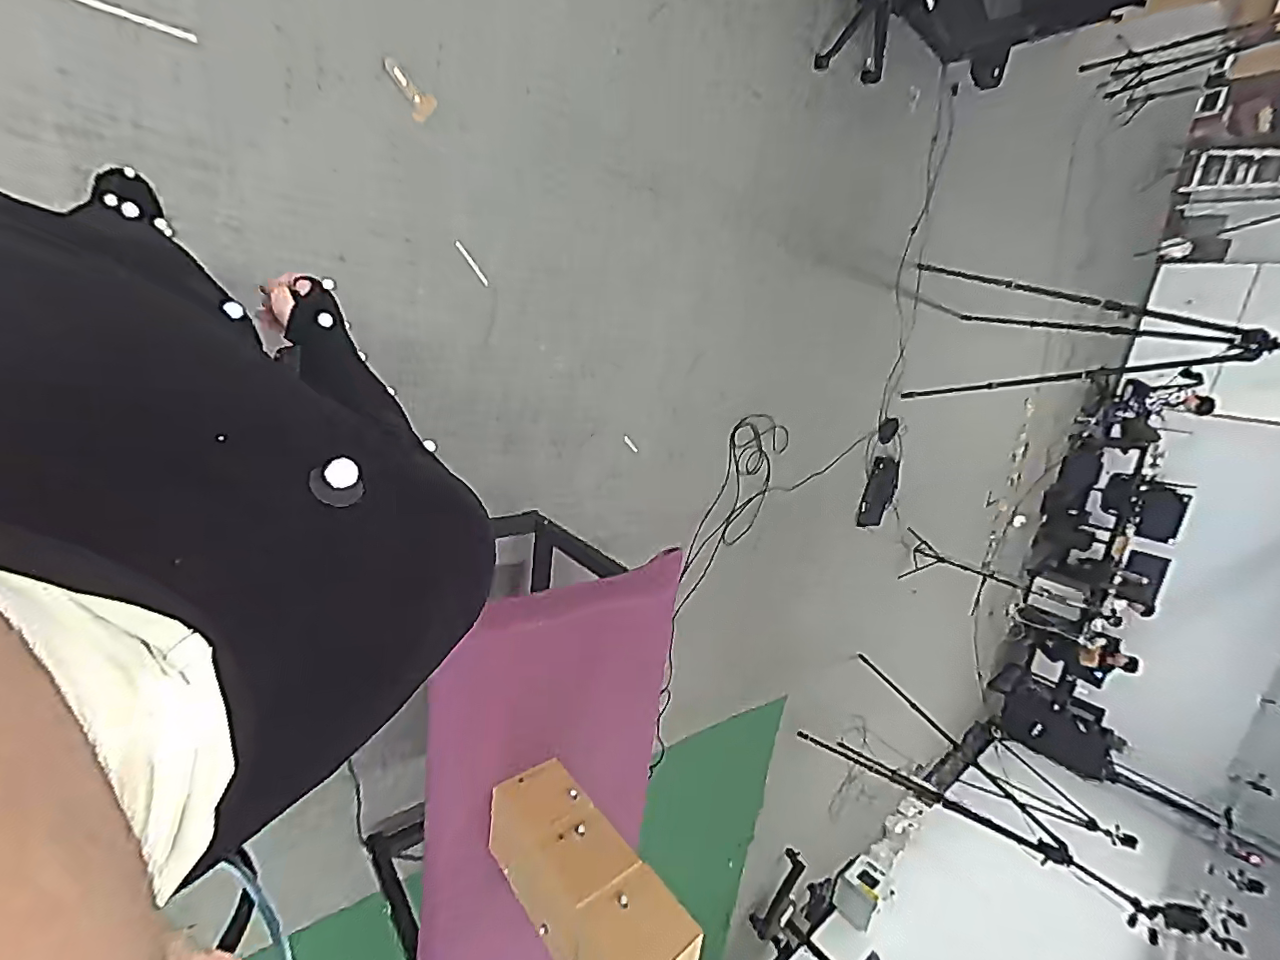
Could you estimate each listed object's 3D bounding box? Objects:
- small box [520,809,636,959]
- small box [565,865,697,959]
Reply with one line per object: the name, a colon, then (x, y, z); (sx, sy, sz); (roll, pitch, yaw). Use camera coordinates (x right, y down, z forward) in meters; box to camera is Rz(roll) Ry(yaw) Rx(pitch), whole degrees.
small box: (-0.132, 0.830, 1.108); (0.168, 0.176, 0.179); (-4, 109, -41)
small box: (-0.023, 0.874, 0.995); (0.179, 0.176, 0.168); (-6, 110, -40)
